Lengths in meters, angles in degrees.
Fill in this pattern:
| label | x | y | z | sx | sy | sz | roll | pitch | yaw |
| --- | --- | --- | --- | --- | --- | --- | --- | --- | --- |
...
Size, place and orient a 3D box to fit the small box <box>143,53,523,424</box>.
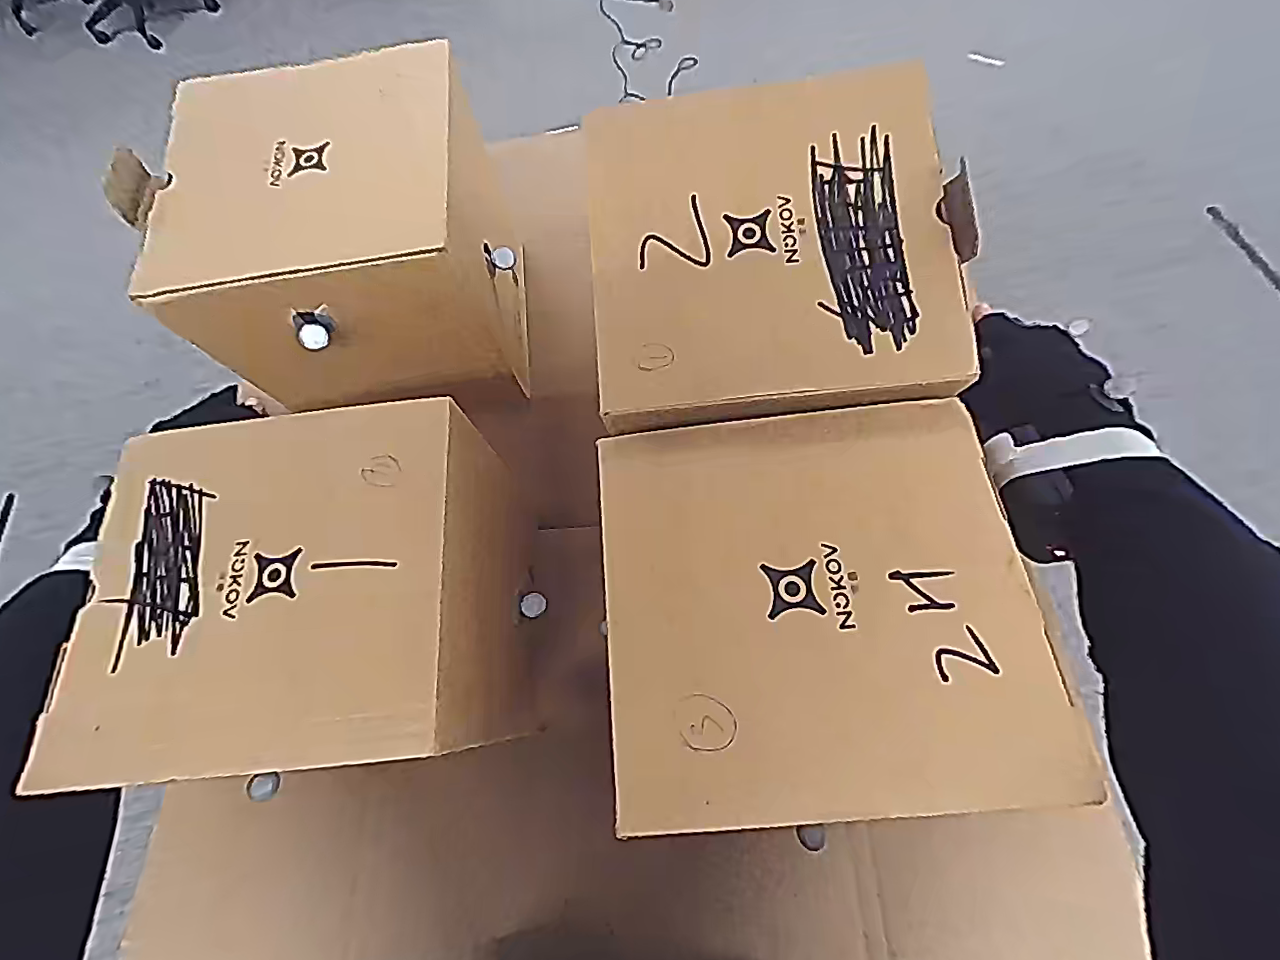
| label | x | y | z | sx | sy | sz | roll | pitch | yaw |
| --- | --- | --- | --- | --- | --- | --- | --- | --- | --- |
| small box | -0.189 | -0.157 | 0.395 | 0.179 | 0.176 | 0.168 | -8 | 69 | 3 |
